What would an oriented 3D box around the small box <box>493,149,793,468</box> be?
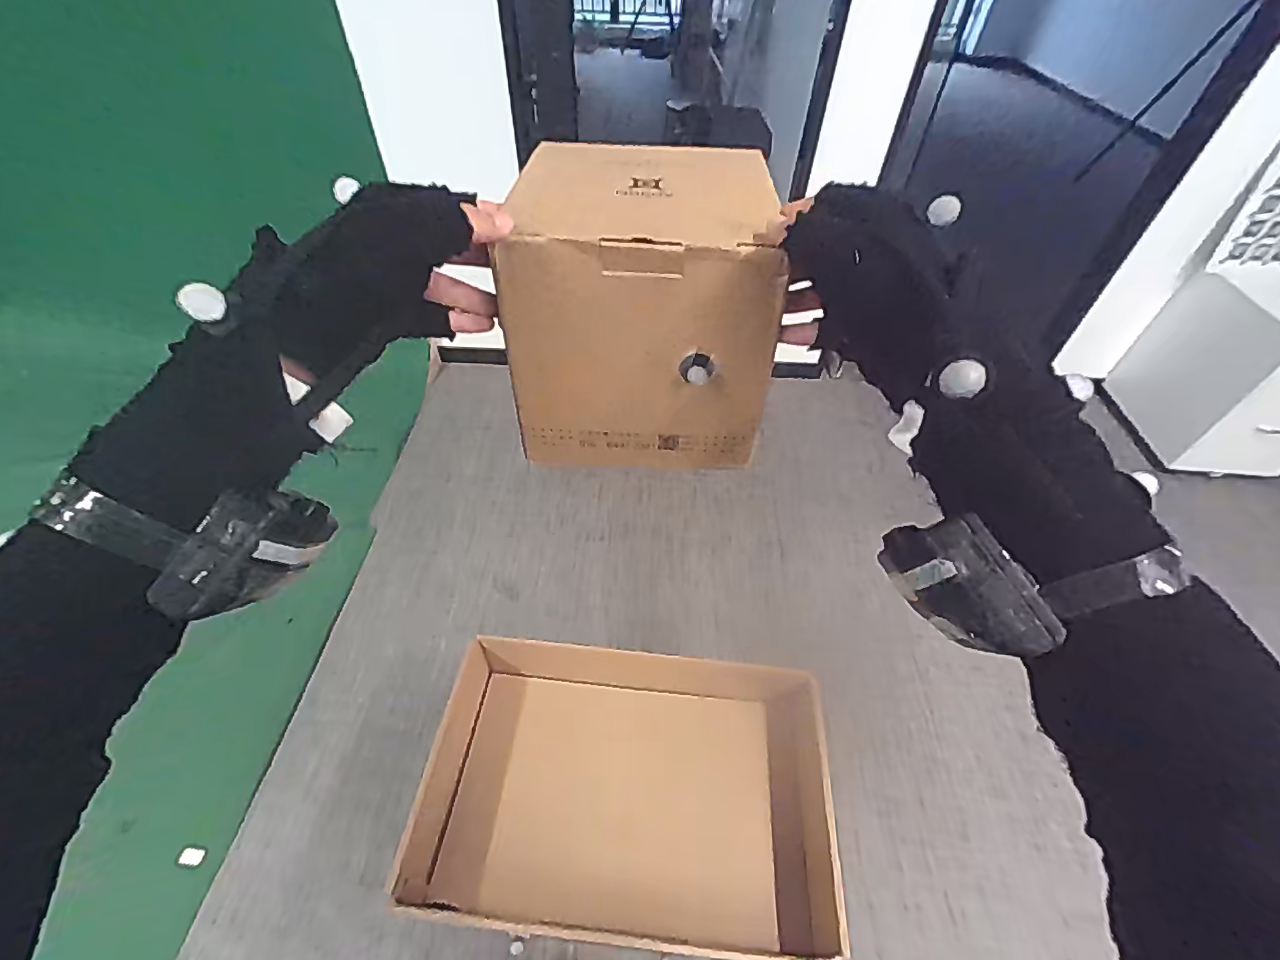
[{"bbox_3d":[0.003,-0.125,0.402,0.168,0.176,0.179,3,45,0],"label":"small box"}]
